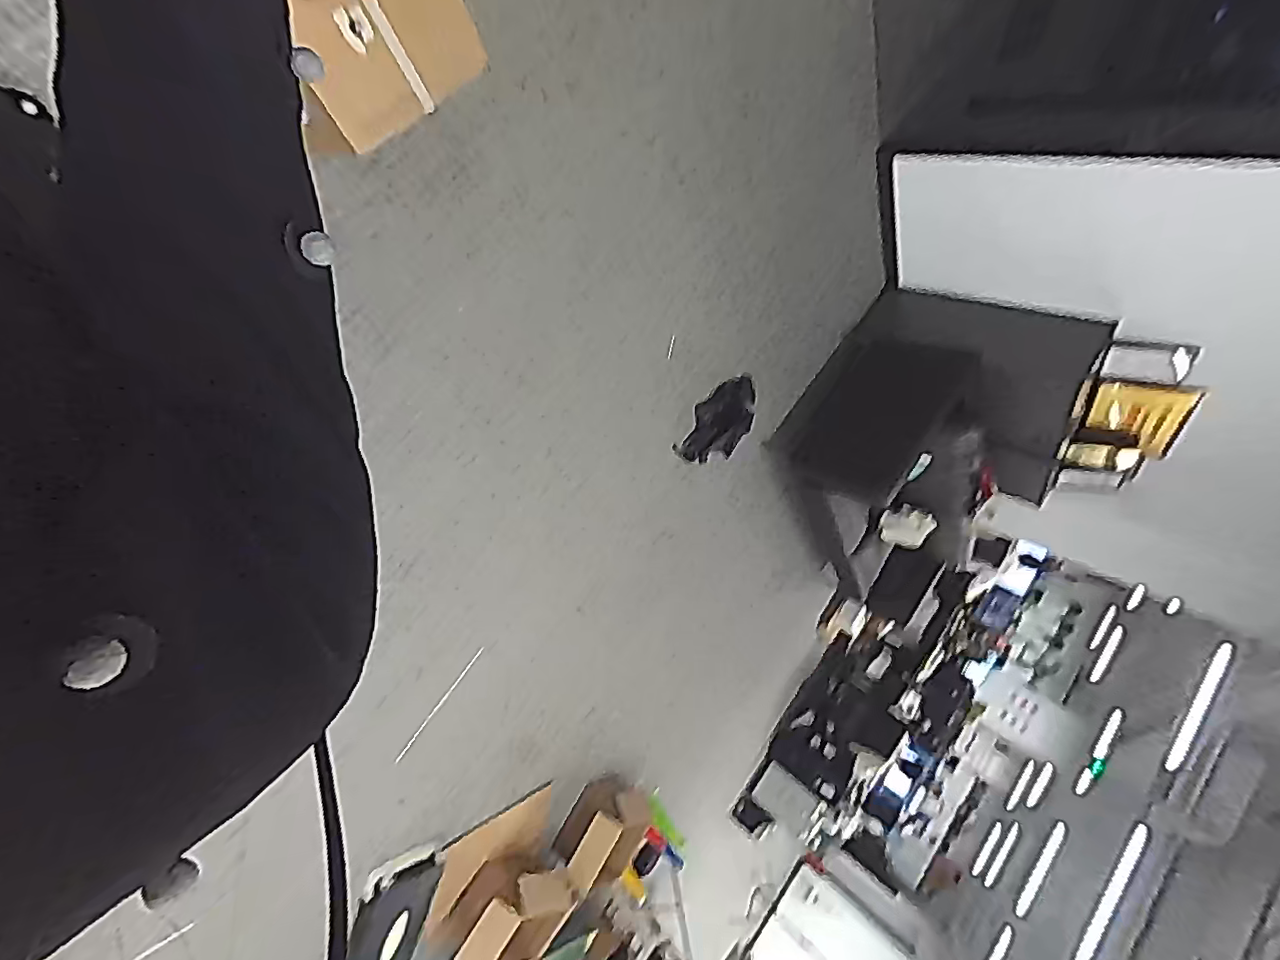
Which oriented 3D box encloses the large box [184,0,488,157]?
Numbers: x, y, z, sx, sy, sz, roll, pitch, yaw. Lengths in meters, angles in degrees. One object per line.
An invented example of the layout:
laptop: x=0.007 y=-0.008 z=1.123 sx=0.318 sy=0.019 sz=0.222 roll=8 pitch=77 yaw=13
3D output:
large box: x=-0.541 y=-0.818 z=0.886 sx=0.320 sy=0.320 sz=0.408 roll=-48 pitch=142 yaw=-16
